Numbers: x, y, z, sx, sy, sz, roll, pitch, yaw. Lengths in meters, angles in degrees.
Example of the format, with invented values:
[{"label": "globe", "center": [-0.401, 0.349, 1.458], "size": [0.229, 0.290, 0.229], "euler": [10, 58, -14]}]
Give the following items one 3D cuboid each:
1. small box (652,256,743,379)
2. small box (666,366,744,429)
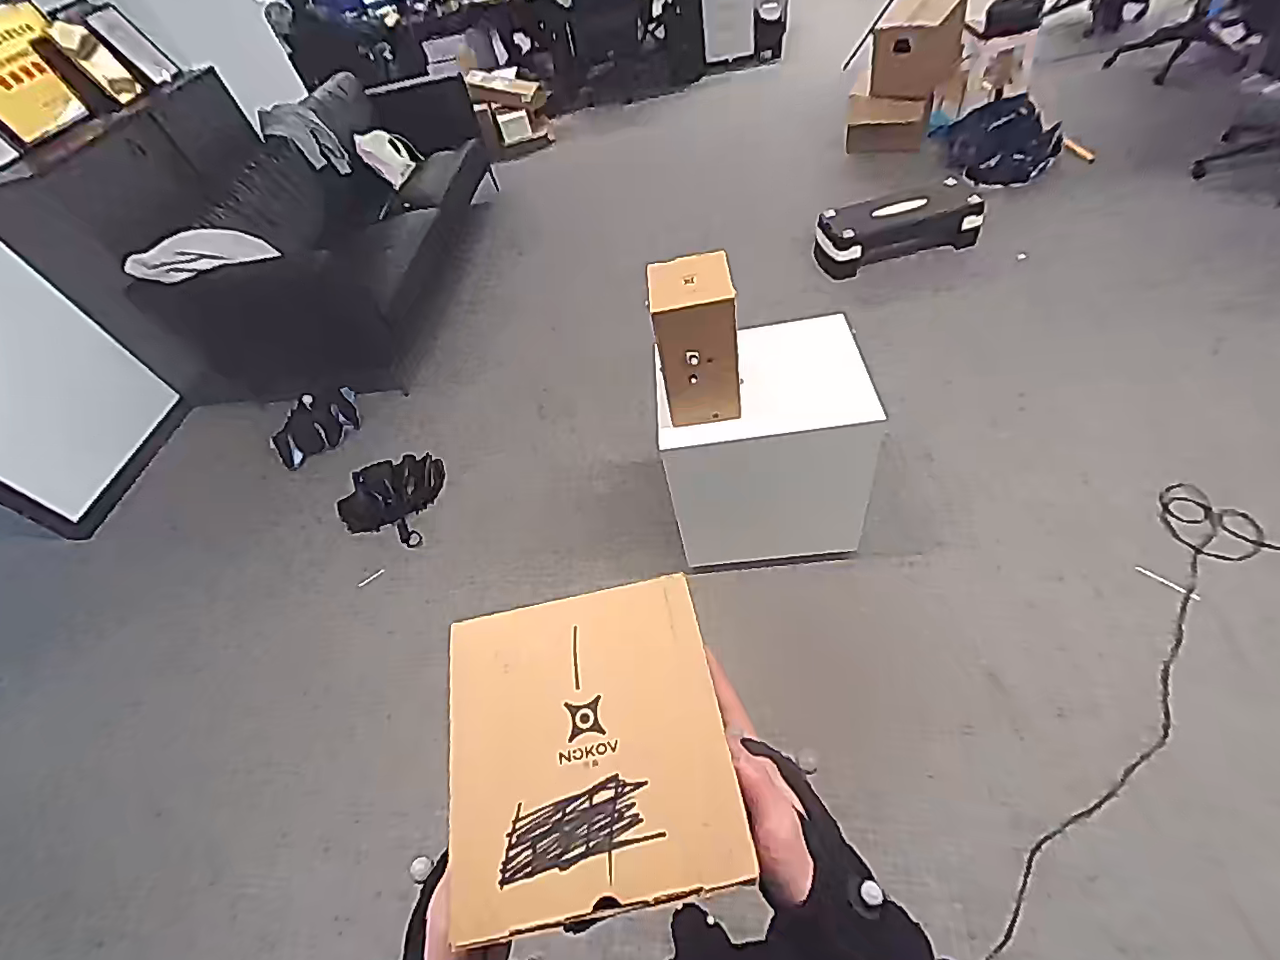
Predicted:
[{"label": "small box", "center": [0.122, -0.340, 1.143], "size": [0.168, 0.176, 0.179], "euler": [-9, 51, 9]}, {"label": "small box", "center": [0.151, -0.244, 1.271], "size": [0.168, 0.176, 0.179], "euler": [-7, 49, 9]}]
